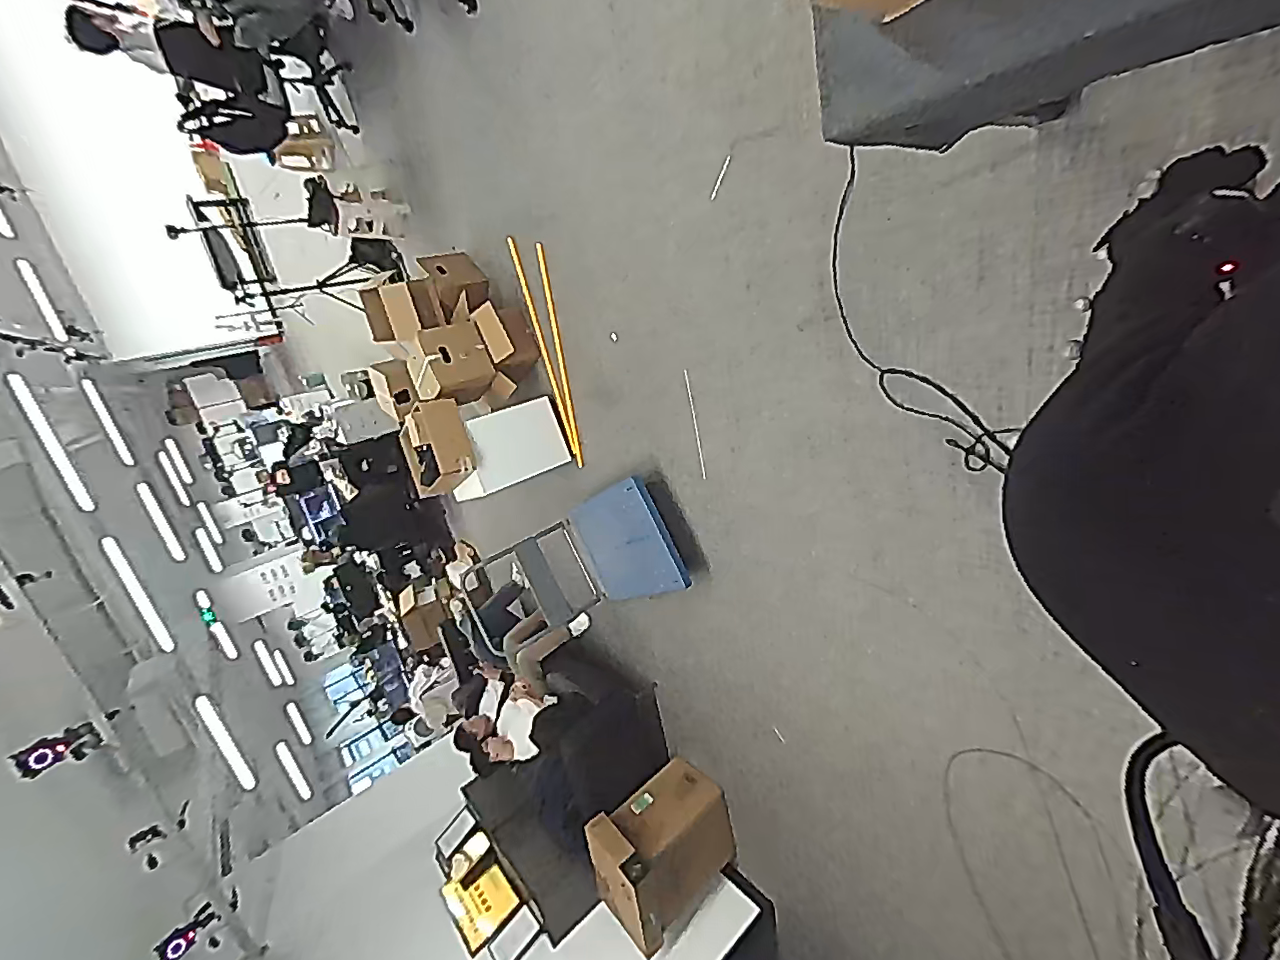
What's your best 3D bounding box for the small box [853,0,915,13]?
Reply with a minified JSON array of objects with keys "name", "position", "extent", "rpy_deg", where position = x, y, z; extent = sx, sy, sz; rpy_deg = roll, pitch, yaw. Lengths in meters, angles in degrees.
[{"name":"small box","position":[0.267,-0.605,0.525],"extent":[0.168,0.176,0.179],"rpy_deg":[9,118,51]}]
